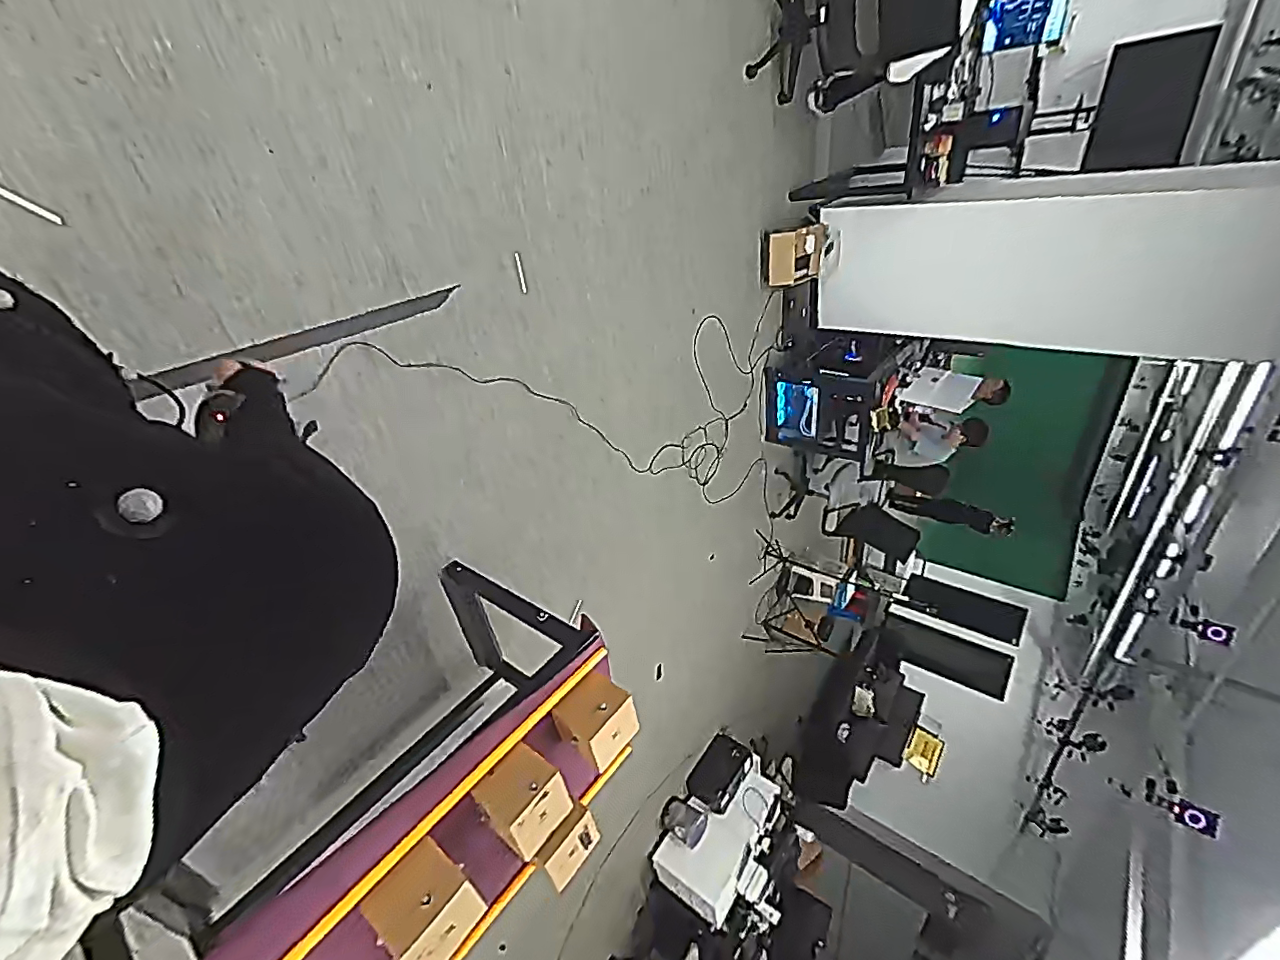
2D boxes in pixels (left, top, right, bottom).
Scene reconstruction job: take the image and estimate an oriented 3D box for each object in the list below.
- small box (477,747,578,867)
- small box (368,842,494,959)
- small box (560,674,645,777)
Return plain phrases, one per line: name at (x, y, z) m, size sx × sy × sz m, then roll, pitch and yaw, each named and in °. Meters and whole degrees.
small box at (-0.289, 0.830, 1.390) m, size 0.168 × 0.176 × 0.179 m, roll -38°, pitch 132°, yaw -39°
small box at (-0.466, 0.967, 1.211) m, size 0.179 × 0.176 × 0.168 m, roll -39°, pitch 133°, yaw -37°
small box at (-0.112, 0.705, 1.569) m, size 0.179 × 0.176 × 0.168 m, roll -38°, pitch 132°, yaw -37°
